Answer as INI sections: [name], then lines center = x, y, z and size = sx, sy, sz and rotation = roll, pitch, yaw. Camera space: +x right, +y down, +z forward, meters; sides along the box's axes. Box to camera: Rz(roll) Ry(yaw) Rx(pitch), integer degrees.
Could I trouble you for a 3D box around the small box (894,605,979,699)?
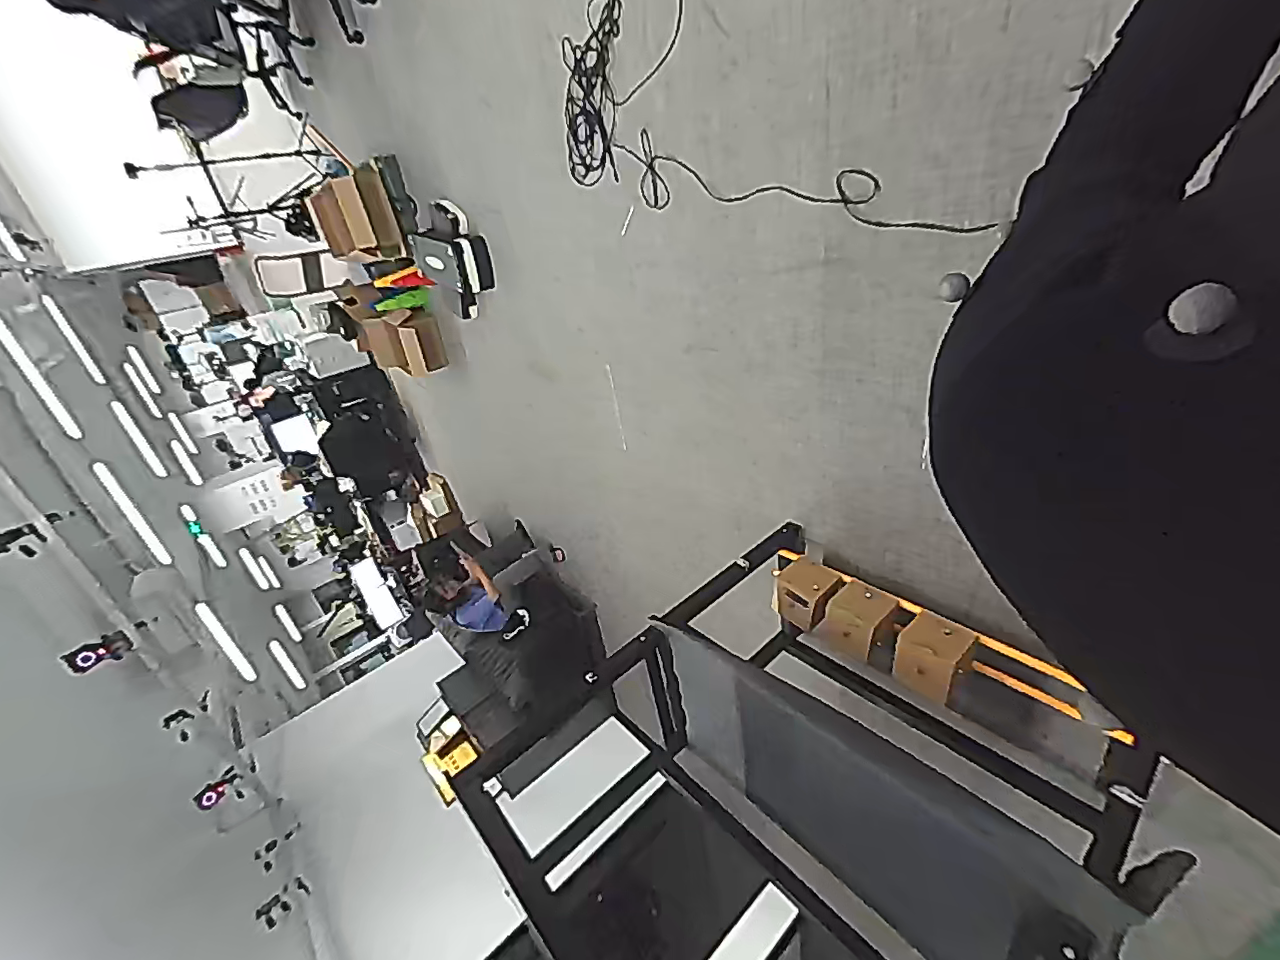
[small box]
center = 0.906, 0.519, 1.652
size = 0.168, 0.176, 0.179
rotation = 26, 132, 45
